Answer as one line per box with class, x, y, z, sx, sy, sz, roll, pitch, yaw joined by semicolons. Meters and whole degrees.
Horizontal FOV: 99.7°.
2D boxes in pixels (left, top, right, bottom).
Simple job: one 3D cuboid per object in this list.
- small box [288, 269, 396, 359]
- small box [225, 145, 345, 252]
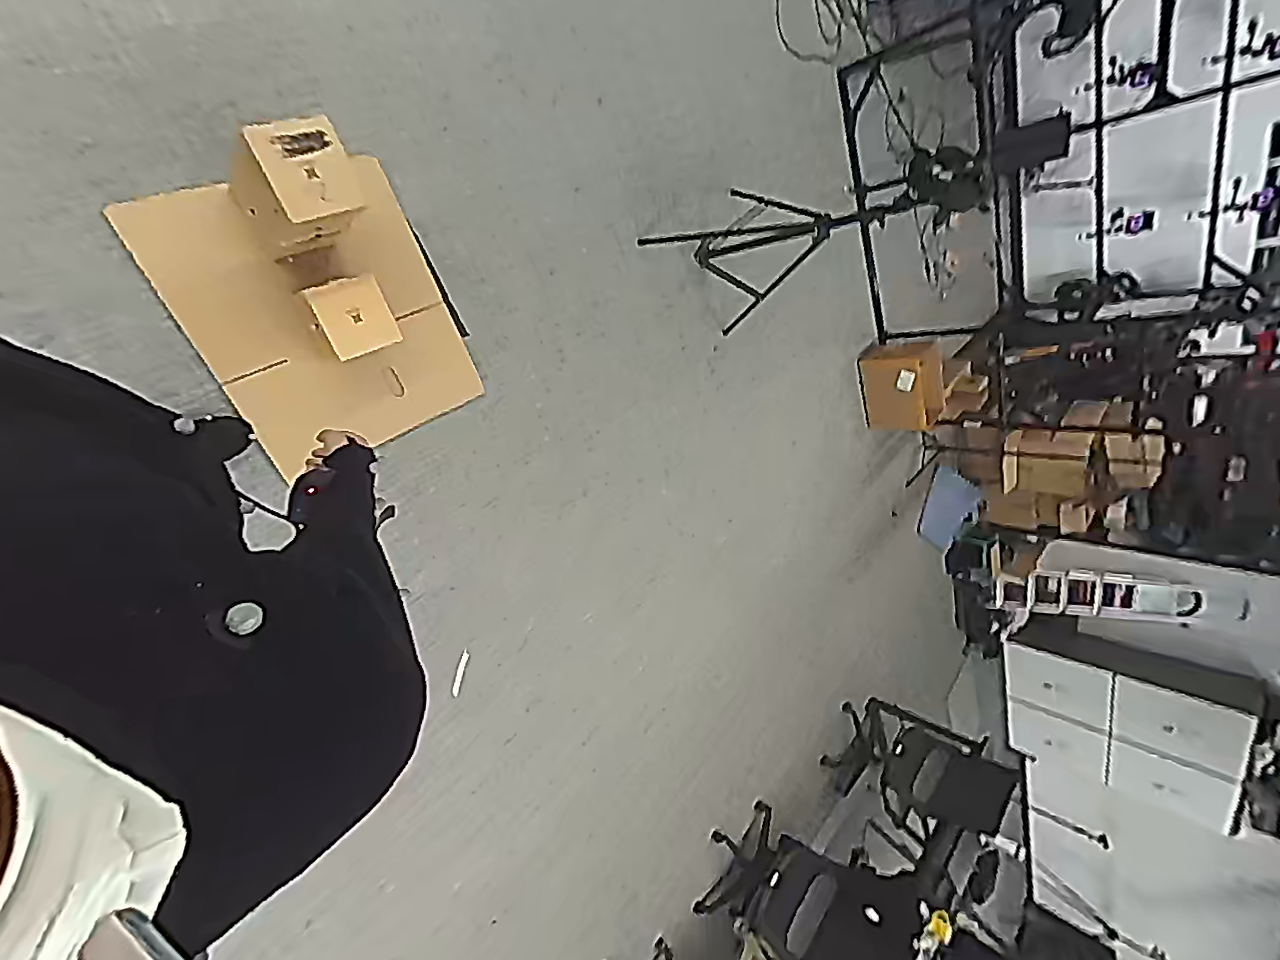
small box;-0.756;-0.417;1.373;0.168;0.176;0.179;-34;118;-32
small box;-0.831;-0.649;1.266;0.168;0.176;0.179;-36;118;-31
